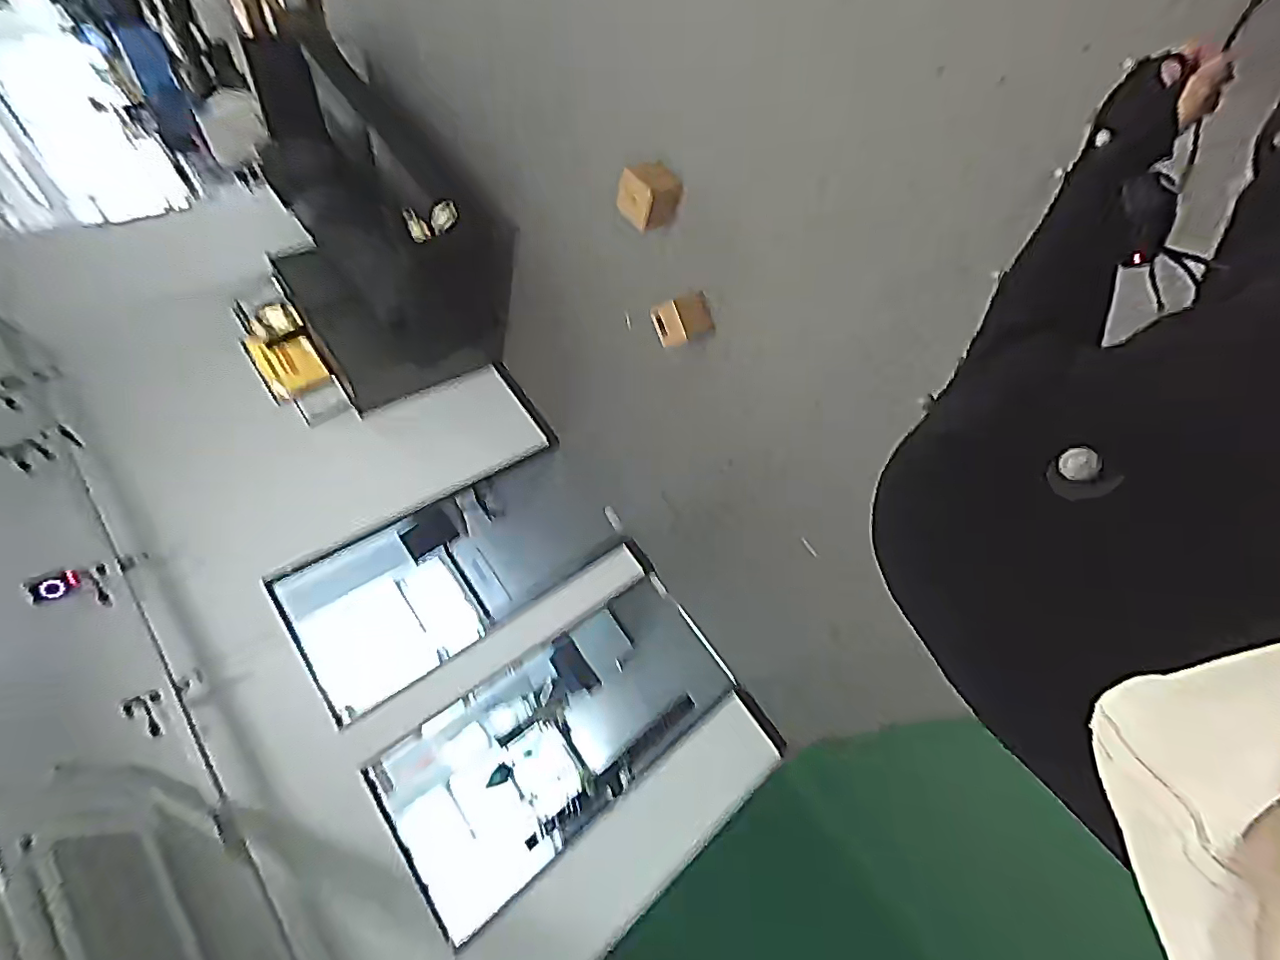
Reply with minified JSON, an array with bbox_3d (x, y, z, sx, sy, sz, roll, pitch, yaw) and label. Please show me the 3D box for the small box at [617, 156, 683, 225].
[{"bbox_3d":[0.040,-1.141,2.118,0.179,0.176,0.168,51,149,17],"label":"small box"}]
